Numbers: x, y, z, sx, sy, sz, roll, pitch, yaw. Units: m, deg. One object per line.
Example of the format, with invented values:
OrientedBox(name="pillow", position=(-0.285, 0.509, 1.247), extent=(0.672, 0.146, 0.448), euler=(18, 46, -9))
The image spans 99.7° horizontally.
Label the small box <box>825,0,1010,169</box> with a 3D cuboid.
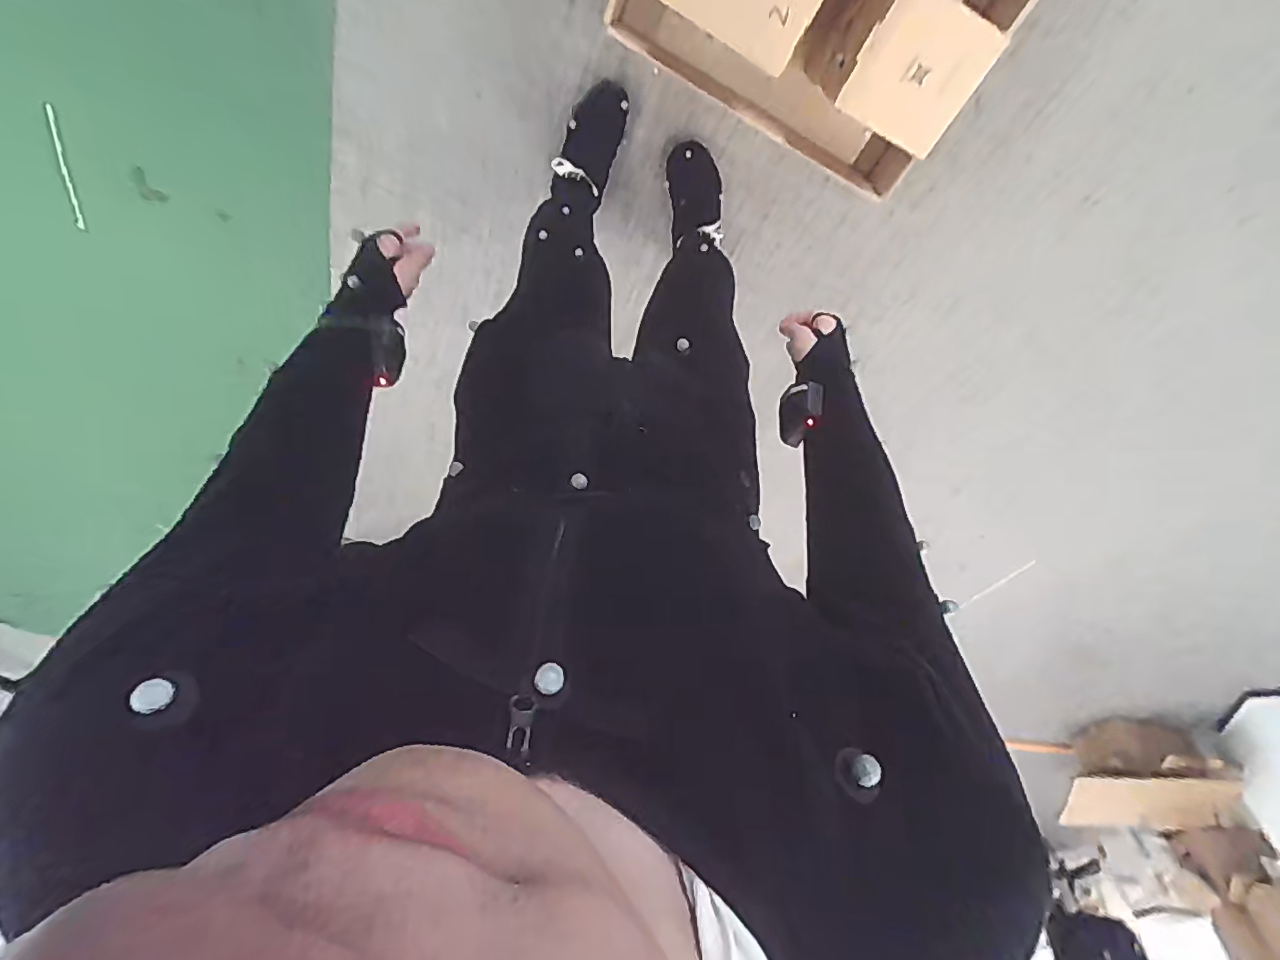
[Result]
OrientedBox(name="small box", position=(0.412, -0.624, 0.839), extent=(0.179, 0.176, 0.168), euler=(22, 133, -12))
